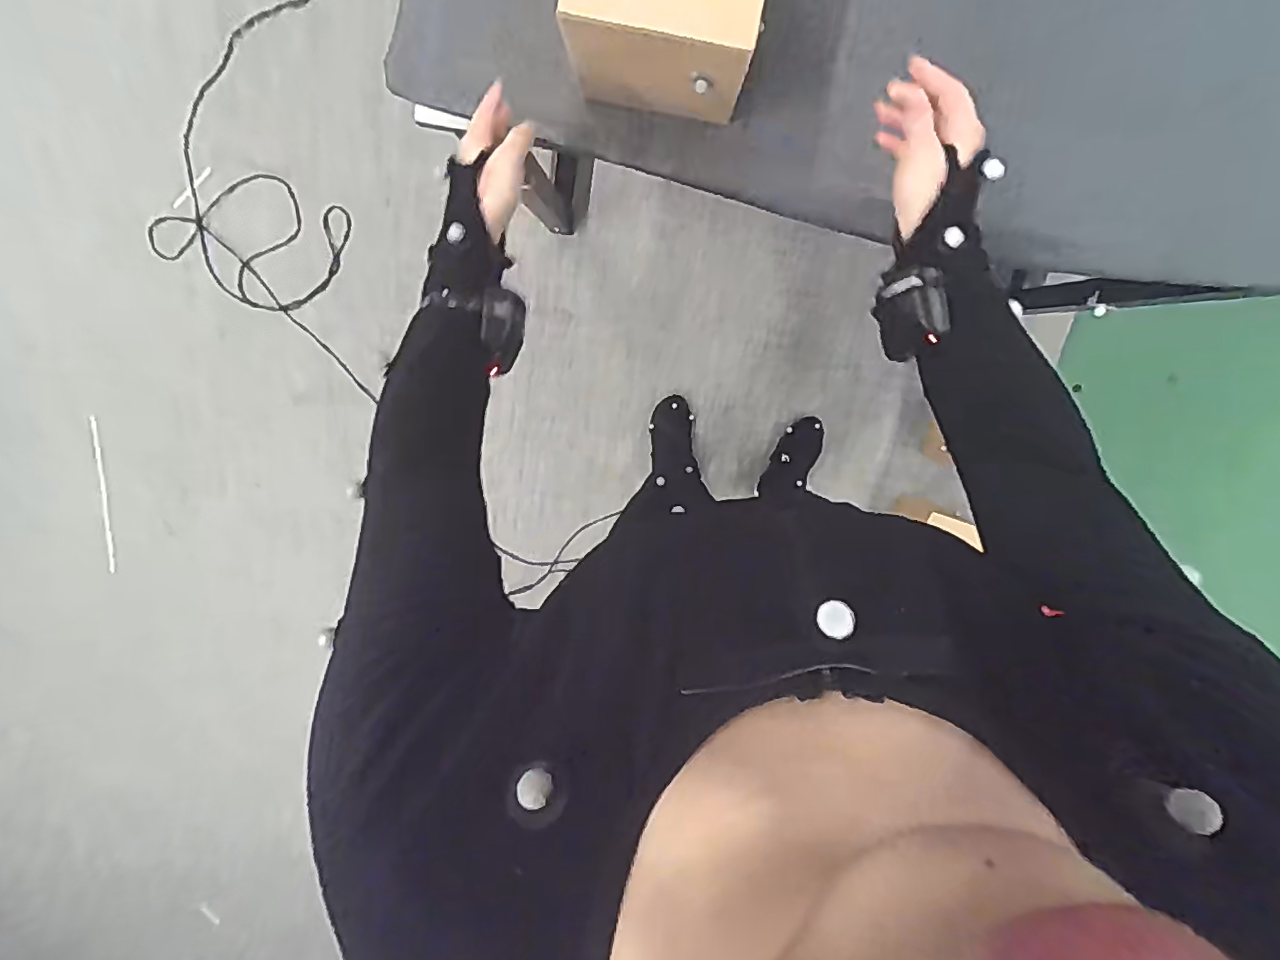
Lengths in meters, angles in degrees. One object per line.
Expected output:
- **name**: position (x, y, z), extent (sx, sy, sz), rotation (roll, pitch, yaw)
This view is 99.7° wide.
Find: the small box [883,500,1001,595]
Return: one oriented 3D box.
- **small box**: position (0.774, 0.168, 1.406), extent (0.179, 0.176, 0.168), rotation (19, 105, -2)
